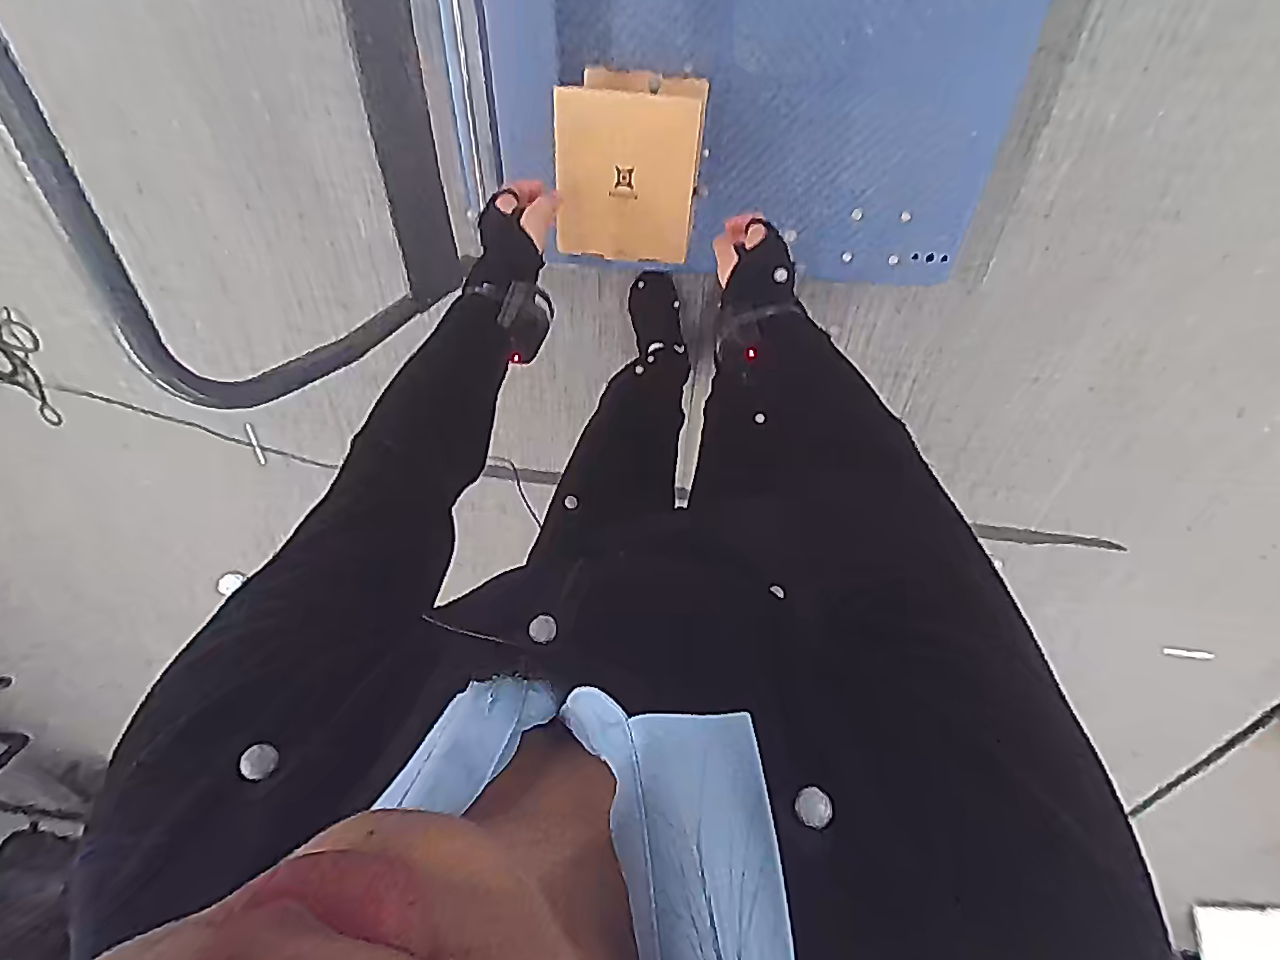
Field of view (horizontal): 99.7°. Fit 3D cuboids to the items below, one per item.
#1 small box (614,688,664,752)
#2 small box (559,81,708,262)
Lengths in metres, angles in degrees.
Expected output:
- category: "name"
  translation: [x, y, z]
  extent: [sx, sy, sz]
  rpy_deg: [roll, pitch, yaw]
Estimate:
- category: "small box"
  translation: [0.000, 0.937, 2.111]
  extent: [0.168, 0.176, 0.179]
  rpy_deg: [-4, 125, 9]
- category: "small box"
  translation: [-0.007, -0.399, 0.695]
  extent: [0.168, 0.176, 0.179]
  rpy_deg: [6, 128, 2]
